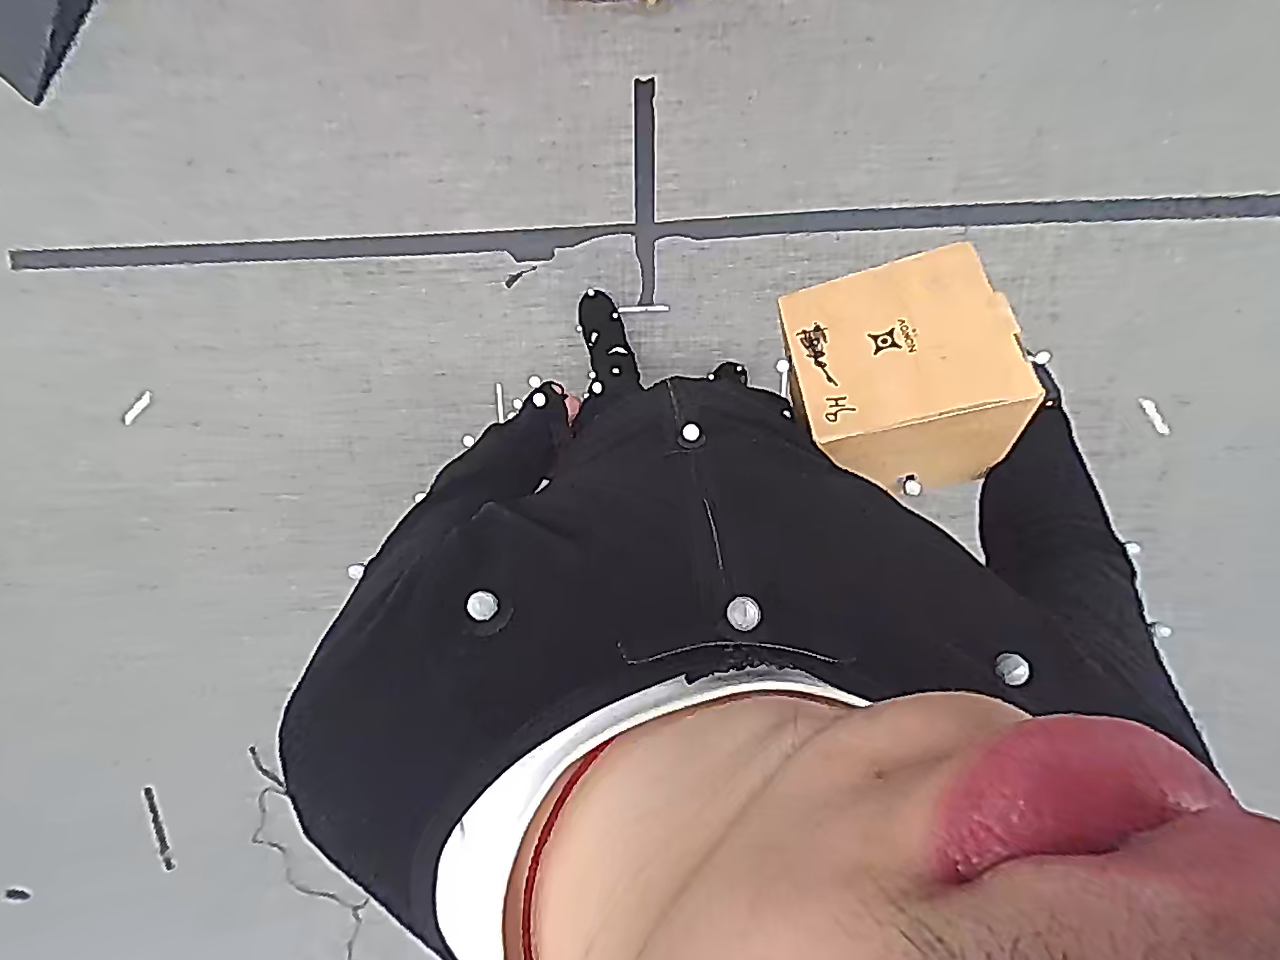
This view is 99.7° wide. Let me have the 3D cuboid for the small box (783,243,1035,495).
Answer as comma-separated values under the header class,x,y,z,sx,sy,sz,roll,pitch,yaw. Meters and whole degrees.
class,x,y,z,sx,sy,sz,roll,pitch,yaw
small box,0.252,-0.099,0.554,0.179,0.176,0.168,-12,64,14
